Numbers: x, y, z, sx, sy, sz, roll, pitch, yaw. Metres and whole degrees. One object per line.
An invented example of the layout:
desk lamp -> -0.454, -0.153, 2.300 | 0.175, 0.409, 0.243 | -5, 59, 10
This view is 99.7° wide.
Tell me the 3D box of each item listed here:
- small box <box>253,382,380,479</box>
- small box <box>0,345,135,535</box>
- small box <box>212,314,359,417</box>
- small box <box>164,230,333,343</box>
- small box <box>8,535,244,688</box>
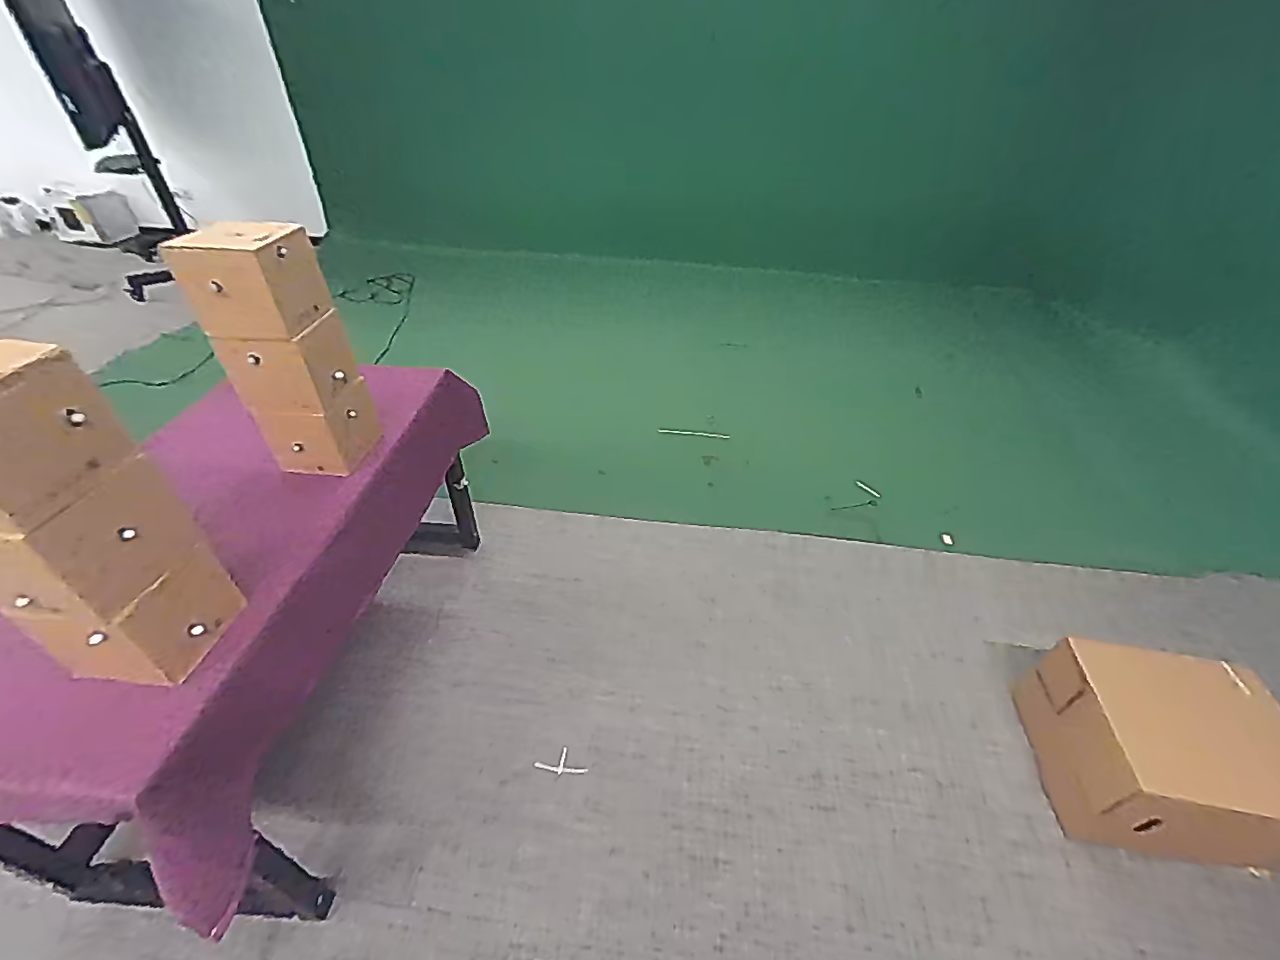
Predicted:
small box -> -0.738, -0.118, 1.261 | 0.168, 0.176, 0.179 | 5, 39, 4
small box -> -0.790, -0.050, 0.655 | 0.179, 0.176, 0.168 | 5, 38, 5
small box -> -0.744, -0.247, 1.158 | 0.179, 0.176, 0.168 | 3, 39, 2
small box -> -0.749, -0.377, 1.057 | 0.179, 0.176, 0.168 | 2, 40, 3
small box -> -0.791, 0.208, 0.857 | 0.179, 0.176, 0.168 | 5, 39, 3
